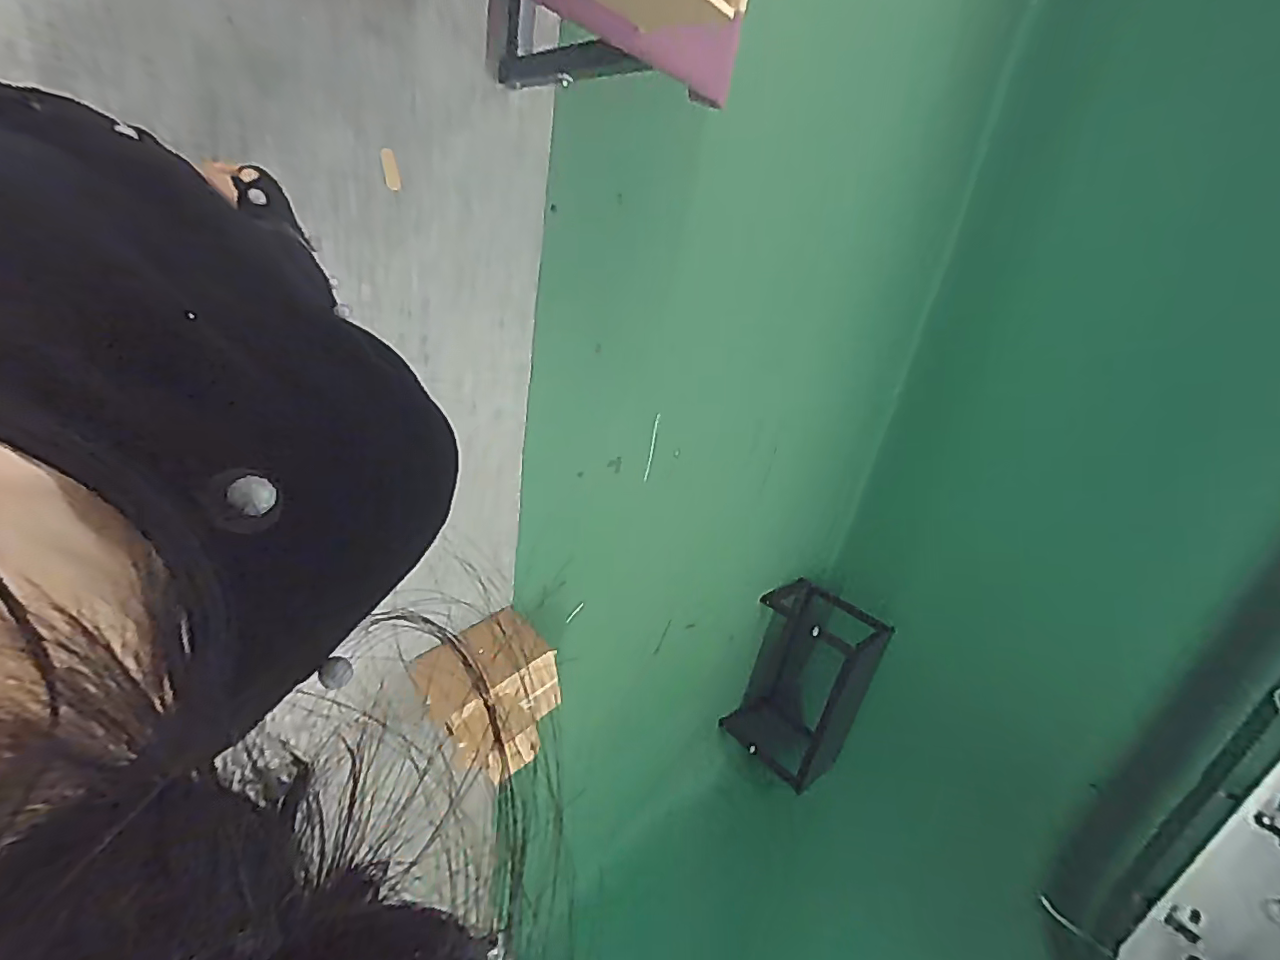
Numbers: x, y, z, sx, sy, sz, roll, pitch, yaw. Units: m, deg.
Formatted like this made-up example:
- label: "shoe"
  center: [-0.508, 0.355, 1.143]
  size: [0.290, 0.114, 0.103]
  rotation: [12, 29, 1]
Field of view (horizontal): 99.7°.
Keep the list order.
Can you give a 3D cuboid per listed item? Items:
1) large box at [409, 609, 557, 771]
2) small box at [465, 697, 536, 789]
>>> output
- label: "large box"
  center: [-0.572, 0.762, 2.012]
  size: [0.408, 0.320, 0.320]
  rotation: [-27, 131, -36]
- label: "small box"
  center: [-0.468, 0.869, 1.798]
  size: [0.179, 0.176, 0.168]
  rotation: [-22, 127, -37]
